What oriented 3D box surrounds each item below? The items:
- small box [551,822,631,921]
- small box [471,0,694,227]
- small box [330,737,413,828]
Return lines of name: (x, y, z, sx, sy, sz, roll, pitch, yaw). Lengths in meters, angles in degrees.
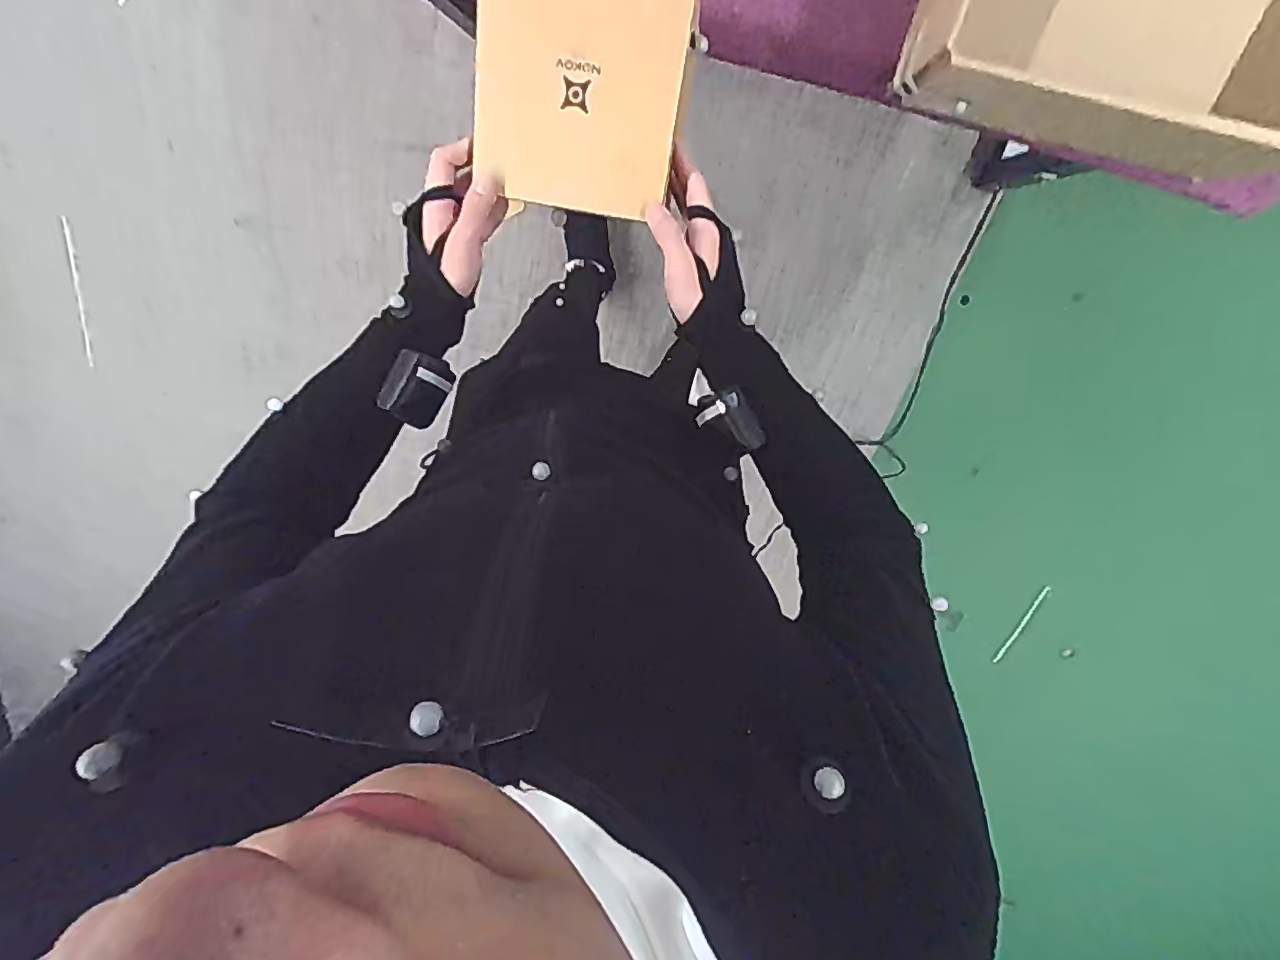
small box: (-0.133, 1.128, 1.559, 0.168, 0.176, 0.179, -14, 108, 12)
small box: (-0.044, -0.342, 0.501, 0.168, 0.176, 0.179, 10, 113, 1)
small box: (-0.882, 0.994, 1.792, 0.168, 0.176, 0.179, 26, 112, -2)
